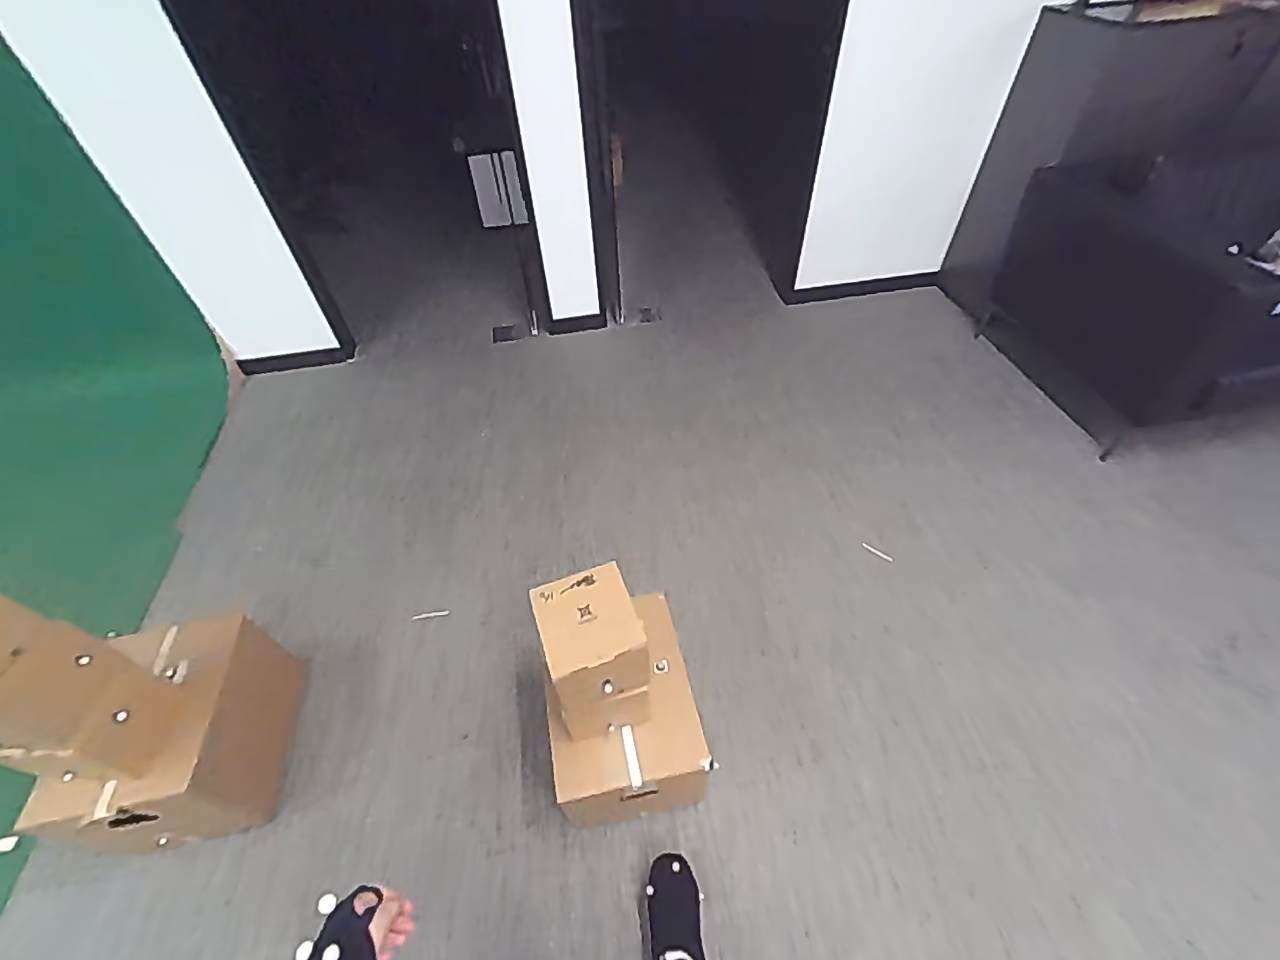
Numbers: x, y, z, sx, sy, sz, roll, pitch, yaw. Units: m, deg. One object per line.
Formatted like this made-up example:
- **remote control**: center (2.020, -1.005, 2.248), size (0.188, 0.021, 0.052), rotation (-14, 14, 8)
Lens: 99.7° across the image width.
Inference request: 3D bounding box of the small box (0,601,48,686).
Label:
- **small box**: center (-1.103, 0.259, 0.827), size (0.179, 0.176, 0.168), rotation (1, 48, 4)

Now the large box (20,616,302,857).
- **large box**: center (-1.071, 0.601, 1.284), size (0.320, 0.320, 0.408), rotation (-10, 48, -6)

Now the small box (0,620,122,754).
- **small box**: center (-1.088, 0.364, 0.954), size (0.168, 0.176, 0.179), rotation (0, 49, 4)

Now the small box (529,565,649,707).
- **small box**: center (-0.087, 0.288, 0.976), size (0.168, 0.176, 0.179), rotation (-17, 51, -11)

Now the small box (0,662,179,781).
- **small box**: center (-1.076, 0.478, 1.069), size (0.168, 0.176, 0.179), rotation (-2, 49, 1)
